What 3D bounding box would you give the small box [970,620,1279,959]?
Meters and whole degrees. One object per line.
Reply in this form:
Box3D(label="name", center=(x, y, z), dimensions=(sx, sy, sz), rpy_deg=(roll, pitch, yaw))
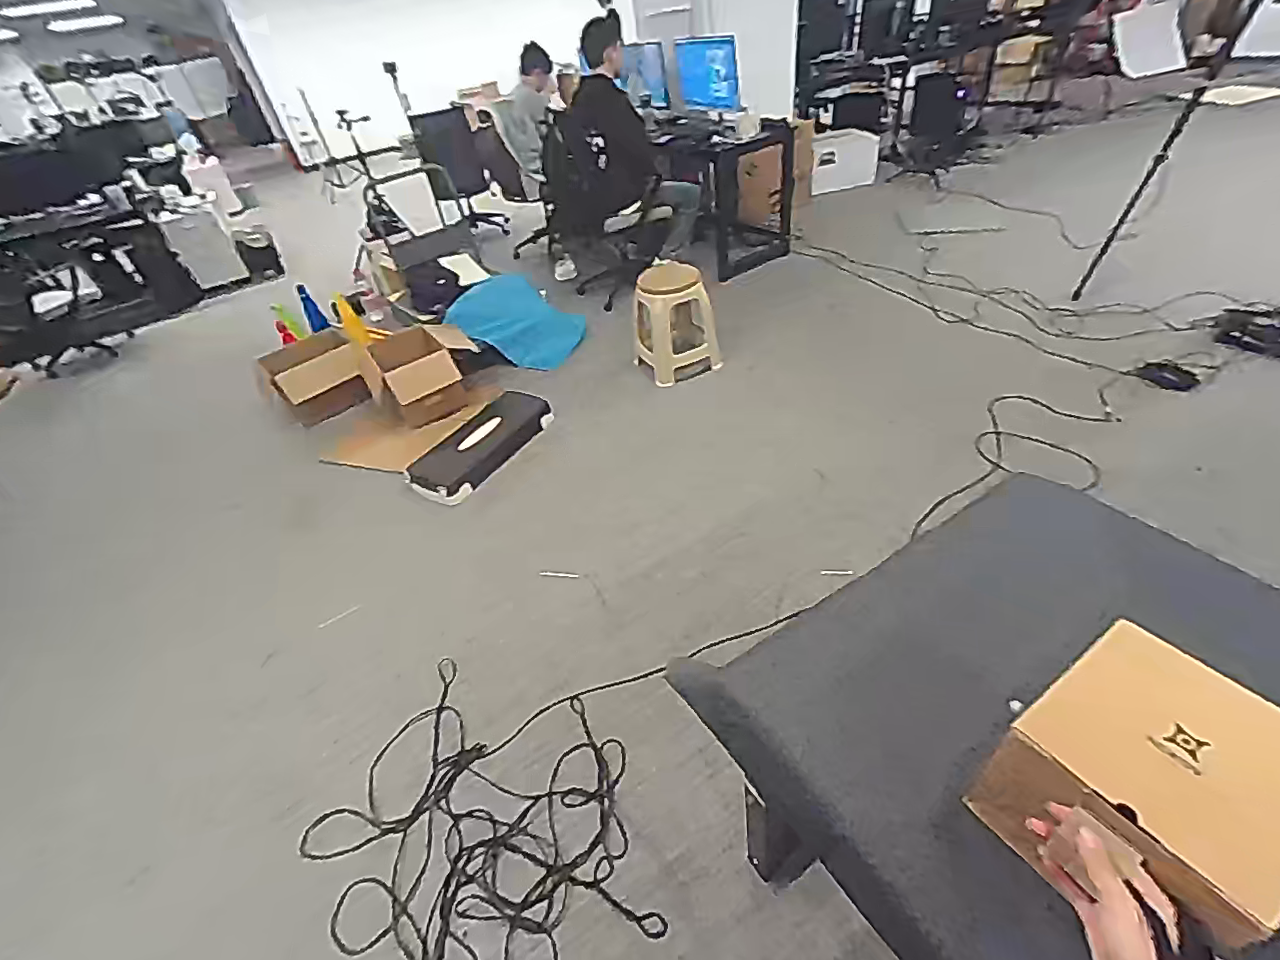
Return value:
Box3D(label="small box", center=(0.432, 0.267, 0.477), dimensions=(0.179, 0.176, 0.168), rpy_deg=(-29, 45, -20))
